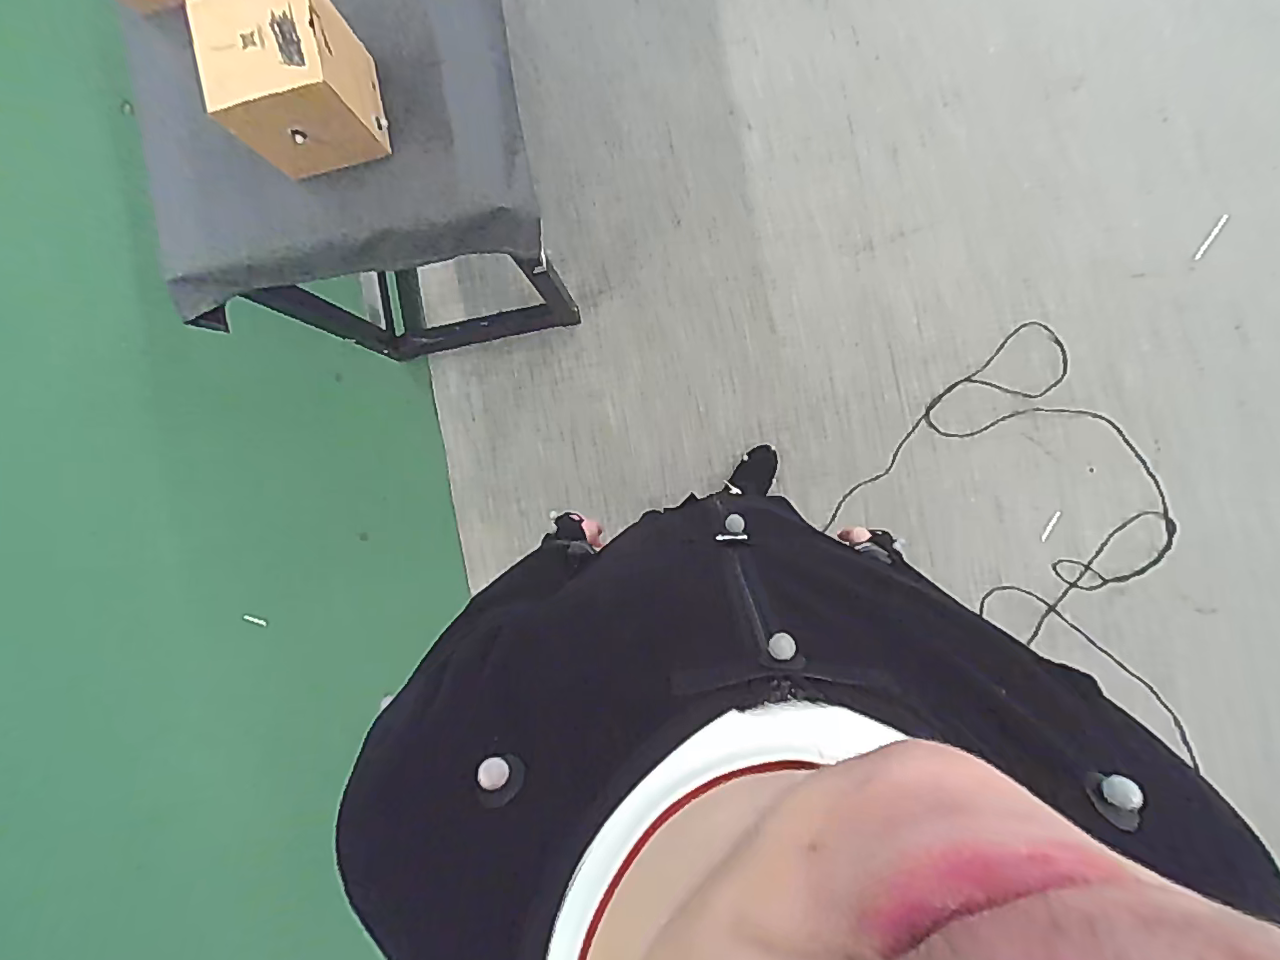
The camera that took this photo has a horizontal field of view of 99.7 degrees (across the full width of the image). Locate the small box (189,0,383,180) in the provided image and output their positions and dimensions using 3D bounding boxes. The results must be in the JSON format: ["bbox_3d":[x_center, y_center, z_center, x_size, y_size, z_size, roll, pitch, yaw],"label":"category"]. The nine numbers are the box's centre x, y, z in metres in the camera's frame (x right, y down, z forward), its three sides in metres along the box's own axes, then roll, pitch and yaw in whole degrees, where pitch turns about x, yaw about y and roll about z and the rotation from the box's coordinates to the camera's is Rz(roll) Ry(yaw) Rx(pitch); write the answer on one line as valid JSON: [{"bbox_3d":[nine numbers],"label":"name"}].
[{"bbox_3d":[-0.511,-0.589,0.810,0.179,0.176,0.168,-12,89,4],"label":"small box"}]
